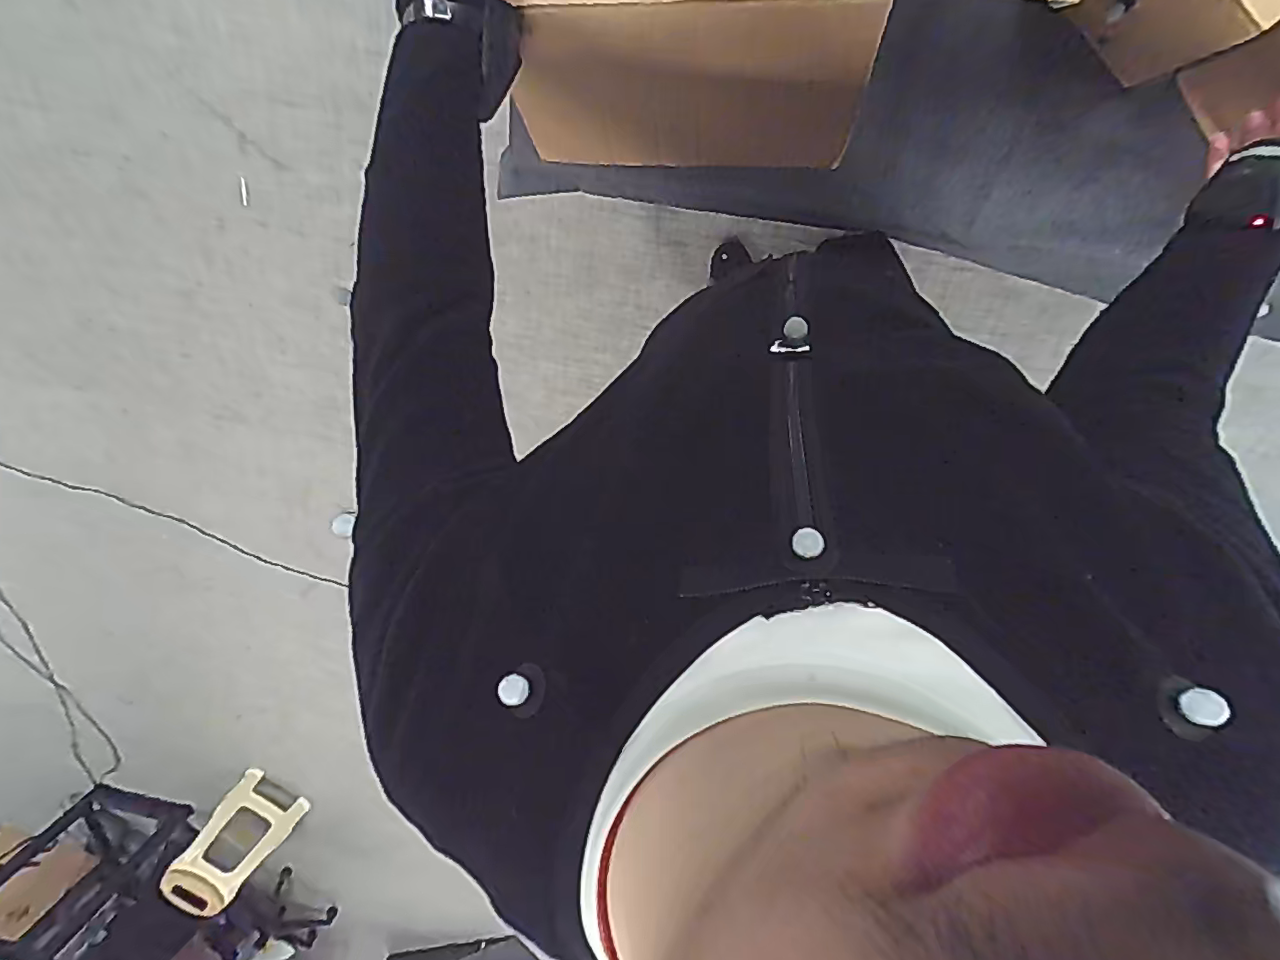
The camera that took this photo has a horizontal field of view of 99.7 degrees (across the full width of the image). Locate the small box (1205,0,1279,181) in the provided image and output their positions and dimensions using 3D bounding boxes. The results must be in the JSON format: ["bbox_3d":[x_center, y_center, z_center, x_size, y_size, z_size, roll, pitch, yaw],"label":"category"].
[{"bbox_3d":[0.667,-0.393,0.472,0.179,0.176,0.168,-38,103,23],"label":"small box"}]
